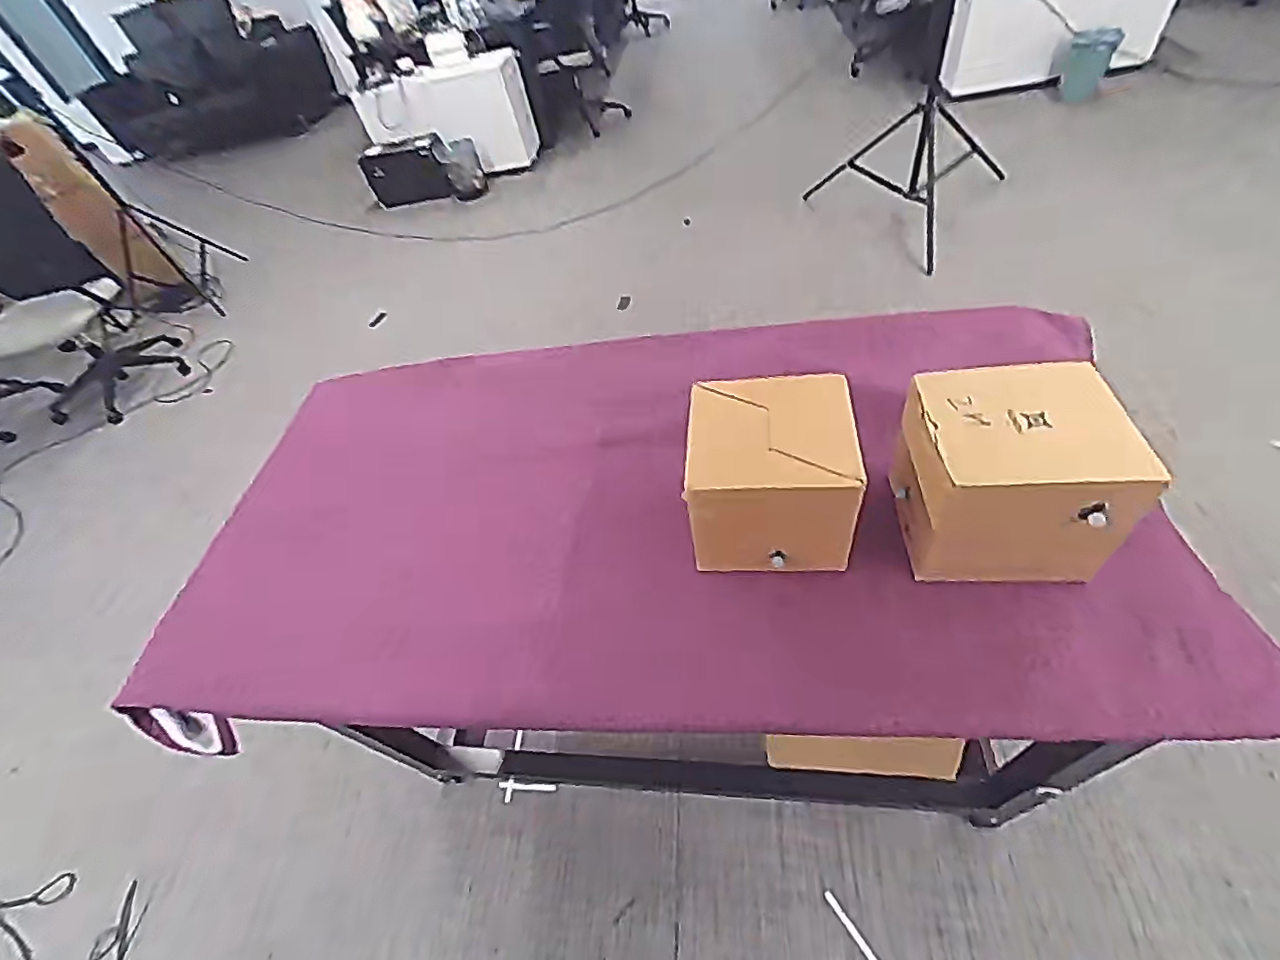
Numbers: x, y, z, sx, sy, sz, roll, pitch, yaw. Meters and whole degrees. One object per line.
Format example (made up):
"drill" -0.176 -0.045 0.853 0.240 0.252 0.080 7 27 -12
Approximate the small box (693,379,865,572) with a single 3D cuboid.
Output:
"small box" 0.157 -0.004 0.648 0.179 0.176 0.168 -2 49 12

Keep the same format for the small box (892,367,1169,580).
"small box" 0.396 -0.003 0.592 0.179 0.176 0.168 -1 48 12
